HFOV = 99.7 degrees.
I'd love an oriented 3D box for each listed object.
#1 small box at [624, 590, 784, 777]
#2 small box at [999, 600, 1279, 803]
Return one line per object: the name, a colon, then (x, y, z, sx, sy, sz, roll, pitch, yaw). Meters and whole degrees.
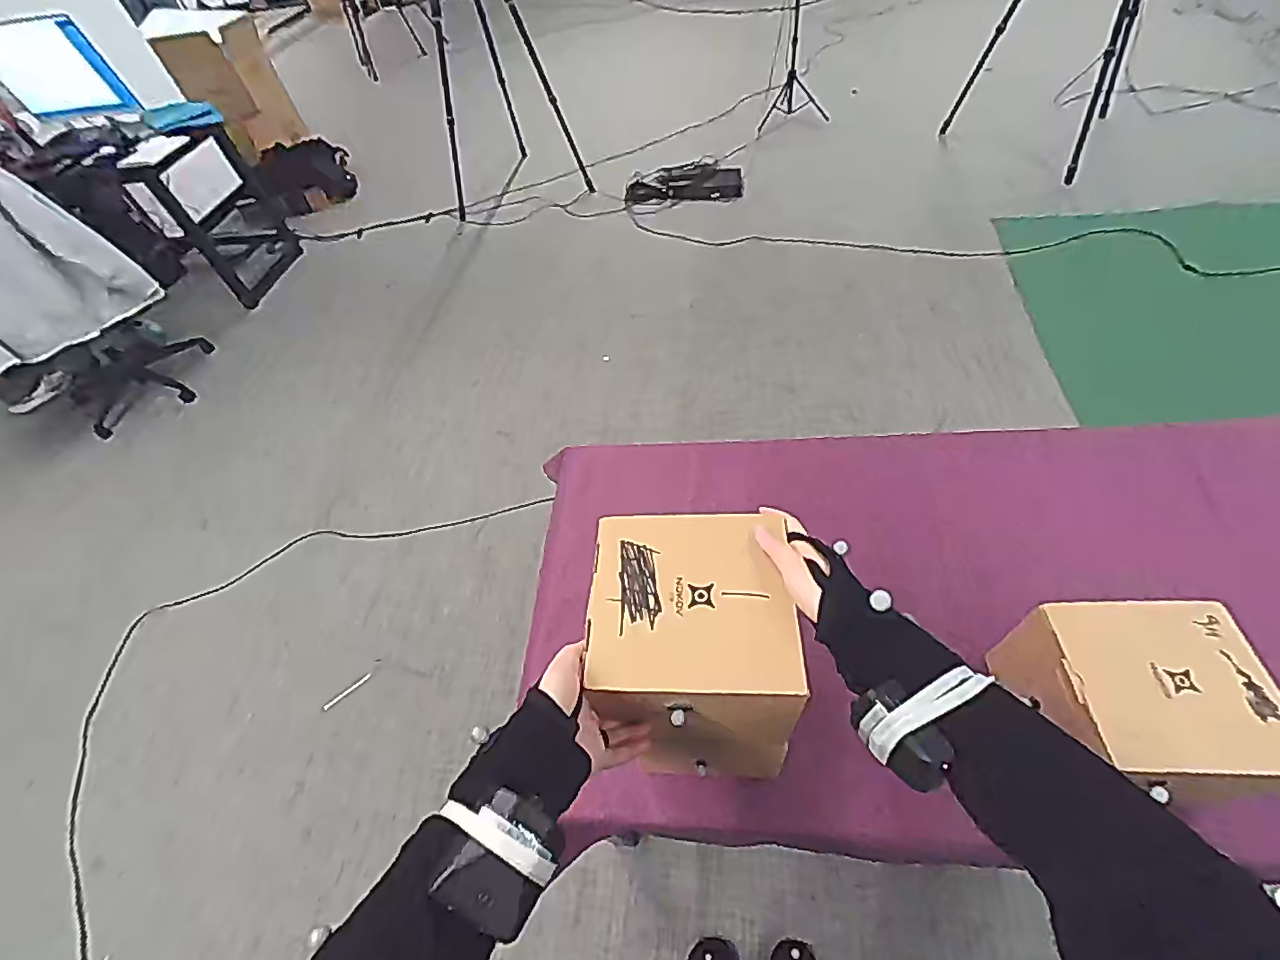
small box: (0.080, 0.249, 0.656, 0.168, 0.176, 0.179, -1, 52, 8)
small box: (0.521, 0.242, 0.584, 0.179, 0.176, 0.168, -3, 52, 9)
